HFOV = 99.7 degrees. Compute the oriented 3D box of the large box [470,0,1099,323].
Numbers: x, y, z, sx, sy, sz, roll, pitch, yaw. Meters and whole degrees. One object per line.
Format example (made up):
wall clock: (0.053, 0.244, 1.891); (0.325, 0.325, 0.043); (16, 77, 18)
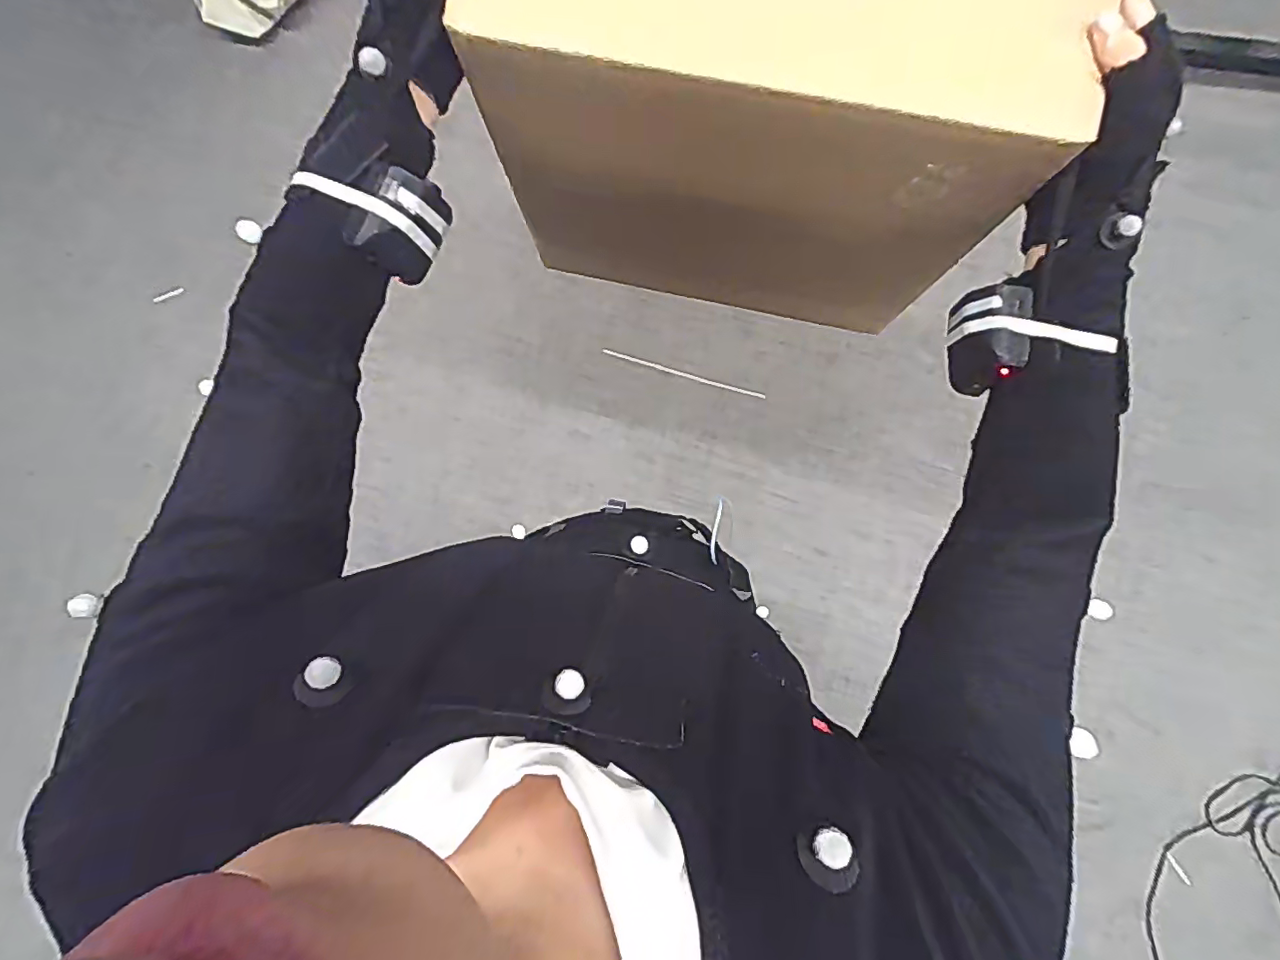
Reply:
large box: (0.110, -0.380, 0.506); (0.408, 0.320, 0.320); (12, 85, 2)
